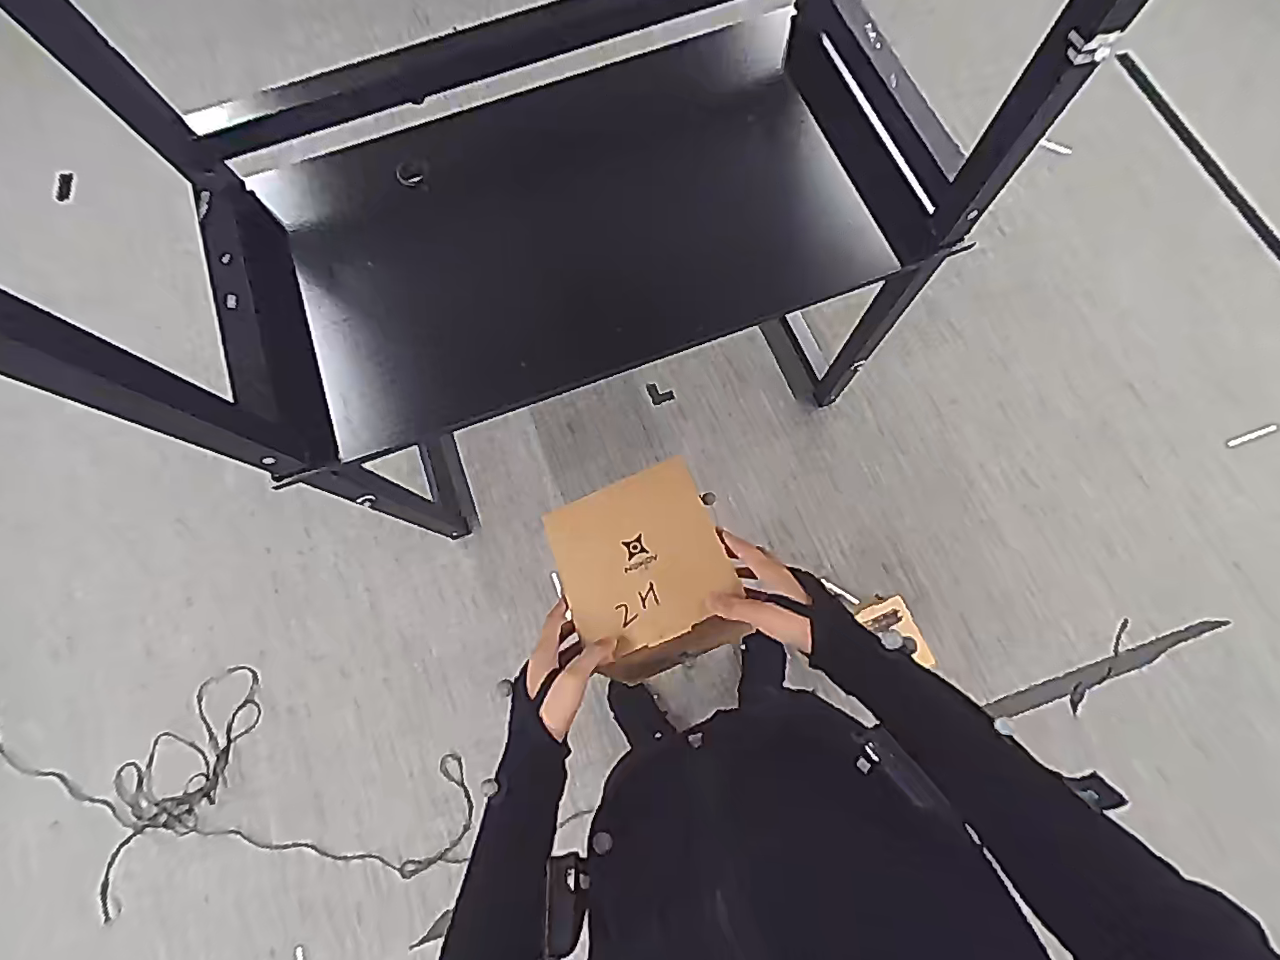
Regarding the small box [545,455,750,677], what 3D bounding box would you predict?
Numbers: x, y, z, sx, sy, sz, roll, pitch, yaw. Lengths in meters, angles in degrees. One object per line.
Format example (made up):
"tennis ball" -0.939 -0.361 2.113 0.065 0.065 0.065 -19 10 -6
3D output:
"small box" 0.014 0.106 0.613 0.168 0.176 0.179 -24 63 2
